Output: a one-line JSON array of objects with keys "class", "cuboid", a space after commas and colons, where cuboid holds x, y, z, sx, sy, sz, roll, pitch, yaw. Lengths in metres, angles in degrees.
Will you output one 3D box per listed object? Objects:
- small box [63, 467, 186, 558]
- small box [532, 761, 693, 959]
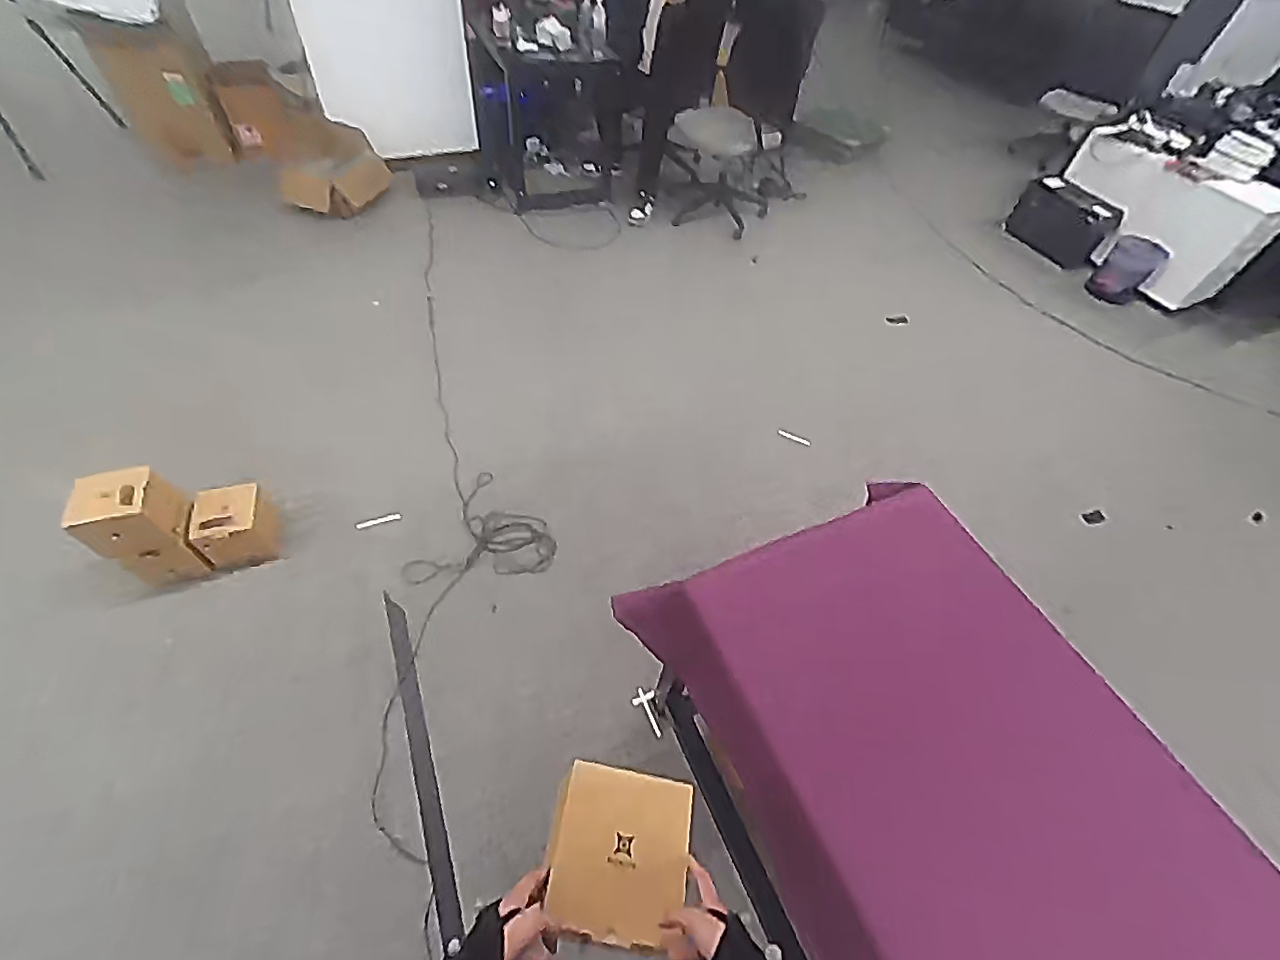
[{"class": "small box", "cuboid": [-1.404, 0.093, 1.489, 0.179, 0.176, 0.168, -13, 54, -14]}, {"class": "small box", "cuboid": [-0.039, 0.504, 0.716, 0.168, 0.176, 0.179, 15, 48, -4]}]
